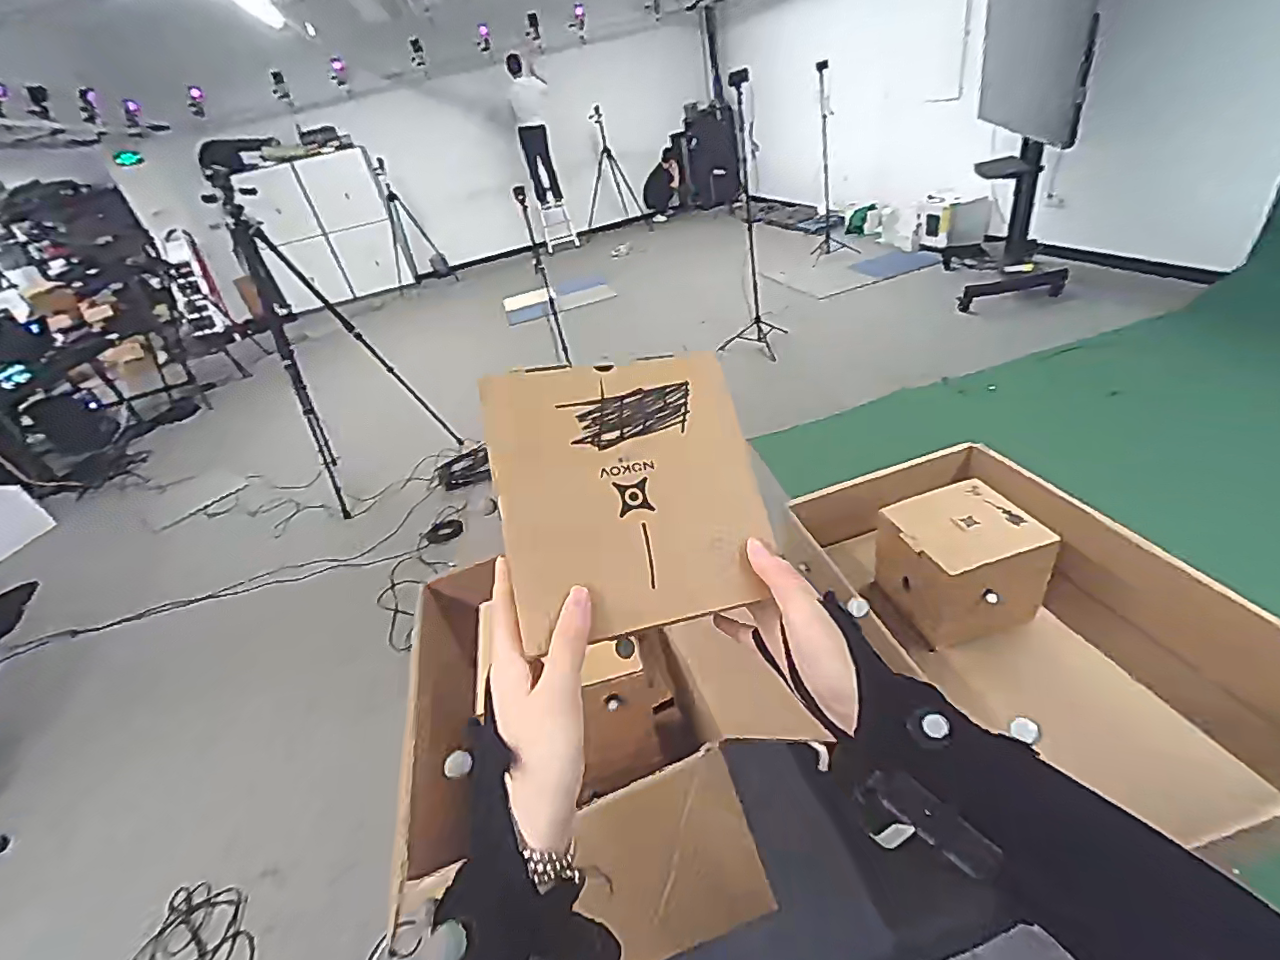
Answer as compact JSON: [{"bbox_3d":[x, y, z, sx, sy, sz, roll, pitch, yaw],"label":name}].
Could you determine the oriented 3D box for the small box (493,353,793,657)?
[{"bbox_3d":[-0.016,0.027,0.410,0.168,0.176,0.179,-9,77,-15],"label":"small box"}]
